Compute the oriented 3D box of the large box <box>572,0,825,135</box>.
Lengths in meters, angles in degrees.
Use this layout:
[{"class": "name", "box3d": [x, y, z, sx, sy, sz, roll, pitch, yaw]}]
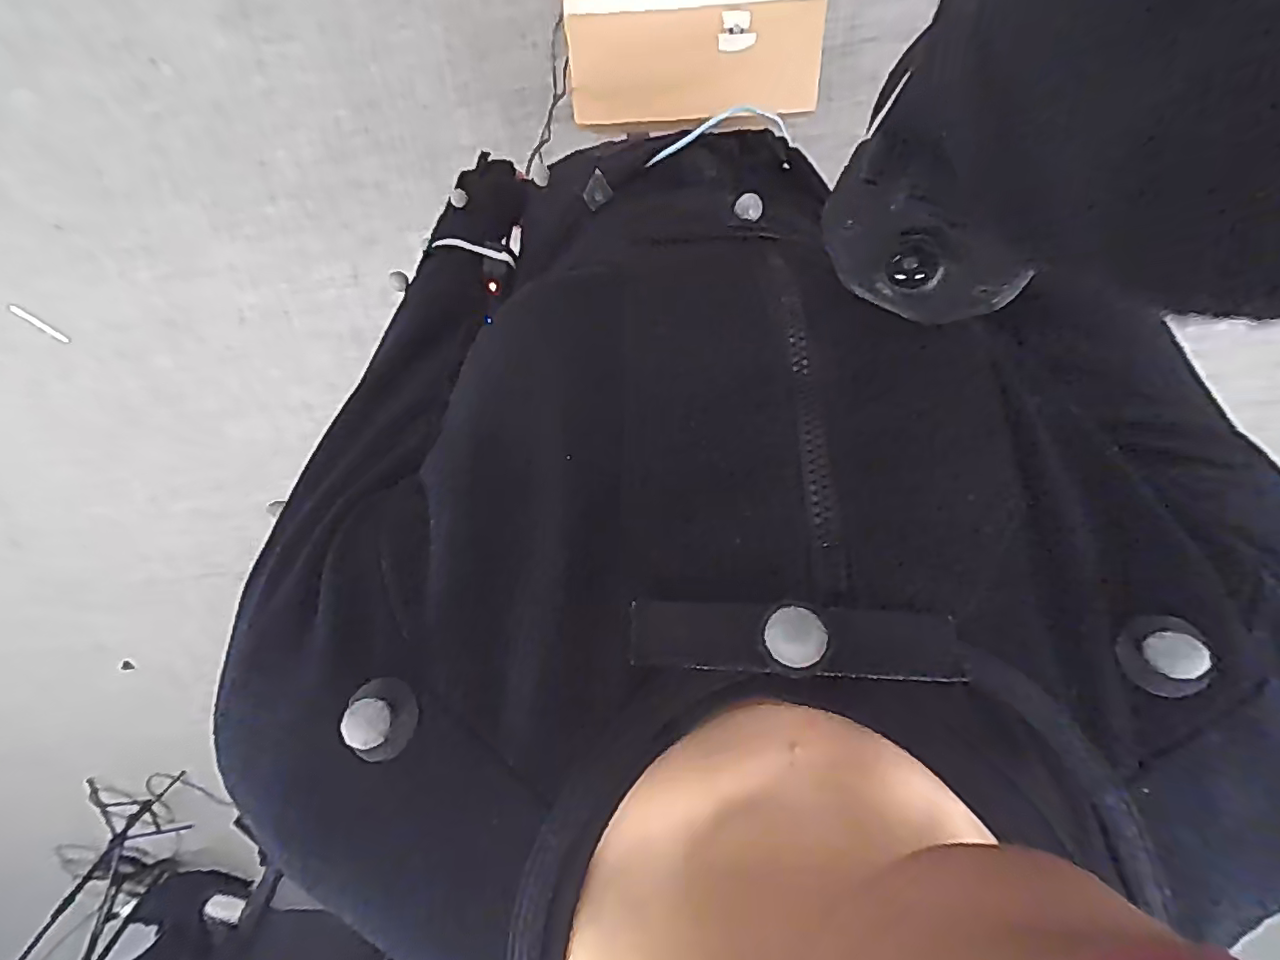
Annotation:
[{"class": "large box", "box3d": [0.091, -0.821, 0.971, 0.408, 0.320, 0.320, -1, 121, 1]}]
